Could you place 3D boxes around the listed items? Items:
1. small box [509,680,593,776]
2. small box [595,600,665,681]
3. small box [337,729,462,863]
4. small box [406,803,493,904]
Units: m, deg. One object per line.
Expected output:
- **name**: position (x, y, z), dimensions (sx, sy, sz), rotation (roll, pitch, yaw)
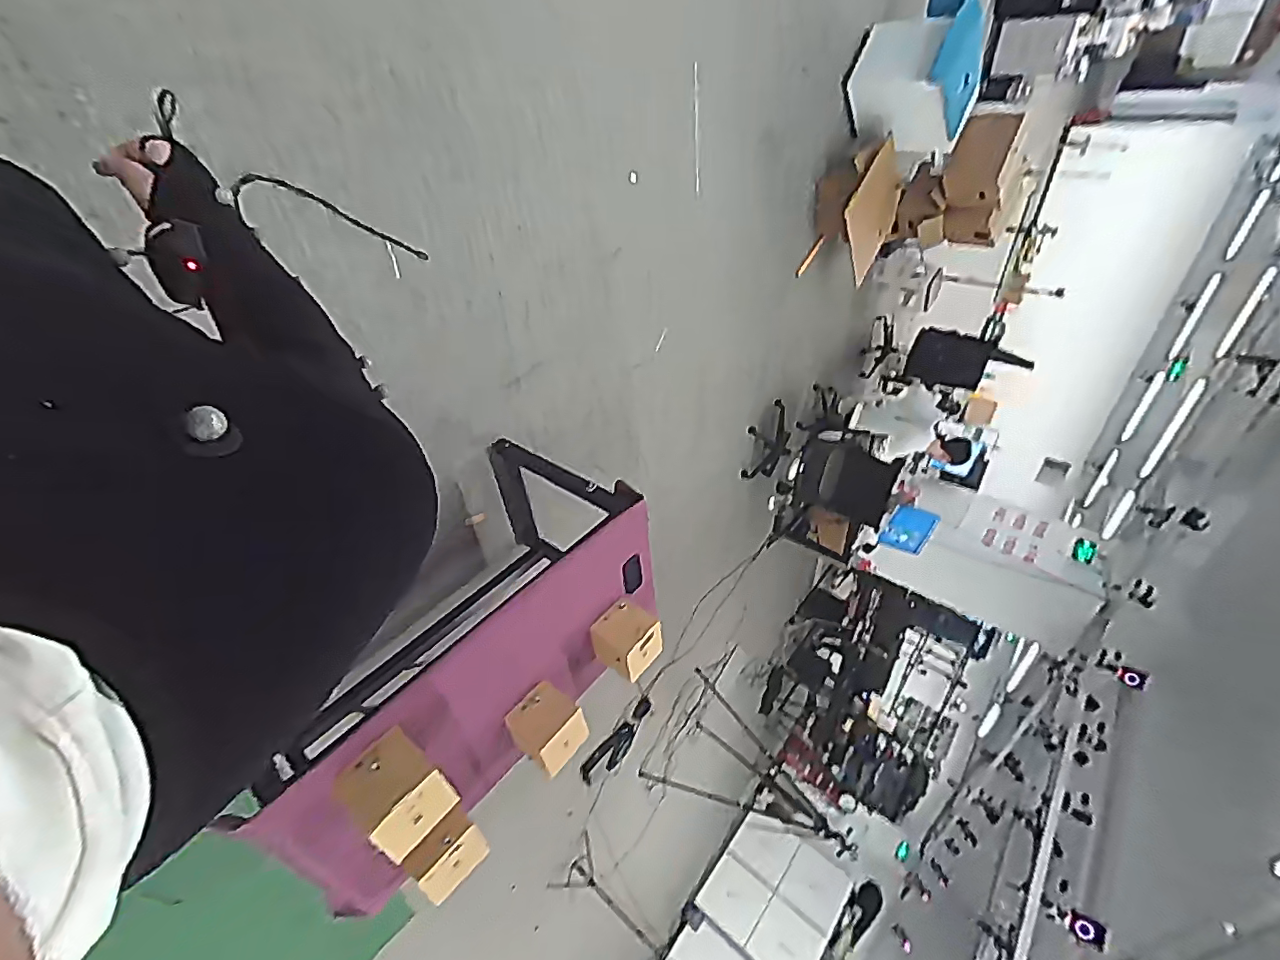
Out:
- **small box**: position (-0.267, 0.740, 1.629), dimensions (0.168, 0.176, 0.179), rotation (-40, 139, -34)
- **small box**: position (-0.033, 0.528, 1.814), dimensions (0.168, 0.176, 0.179), rotation (-39, 140, -33)
- **small box**: position (-0.537, 0.702, 1.215), dimensions (0.168, 0.176, 0.179), rotation (-41, 140, -34)
- **small box**: position (-0.516, 0.942, 1.409), dimensions (0.168, 0.176, 0.179), rotation (-39, 139, -36)
